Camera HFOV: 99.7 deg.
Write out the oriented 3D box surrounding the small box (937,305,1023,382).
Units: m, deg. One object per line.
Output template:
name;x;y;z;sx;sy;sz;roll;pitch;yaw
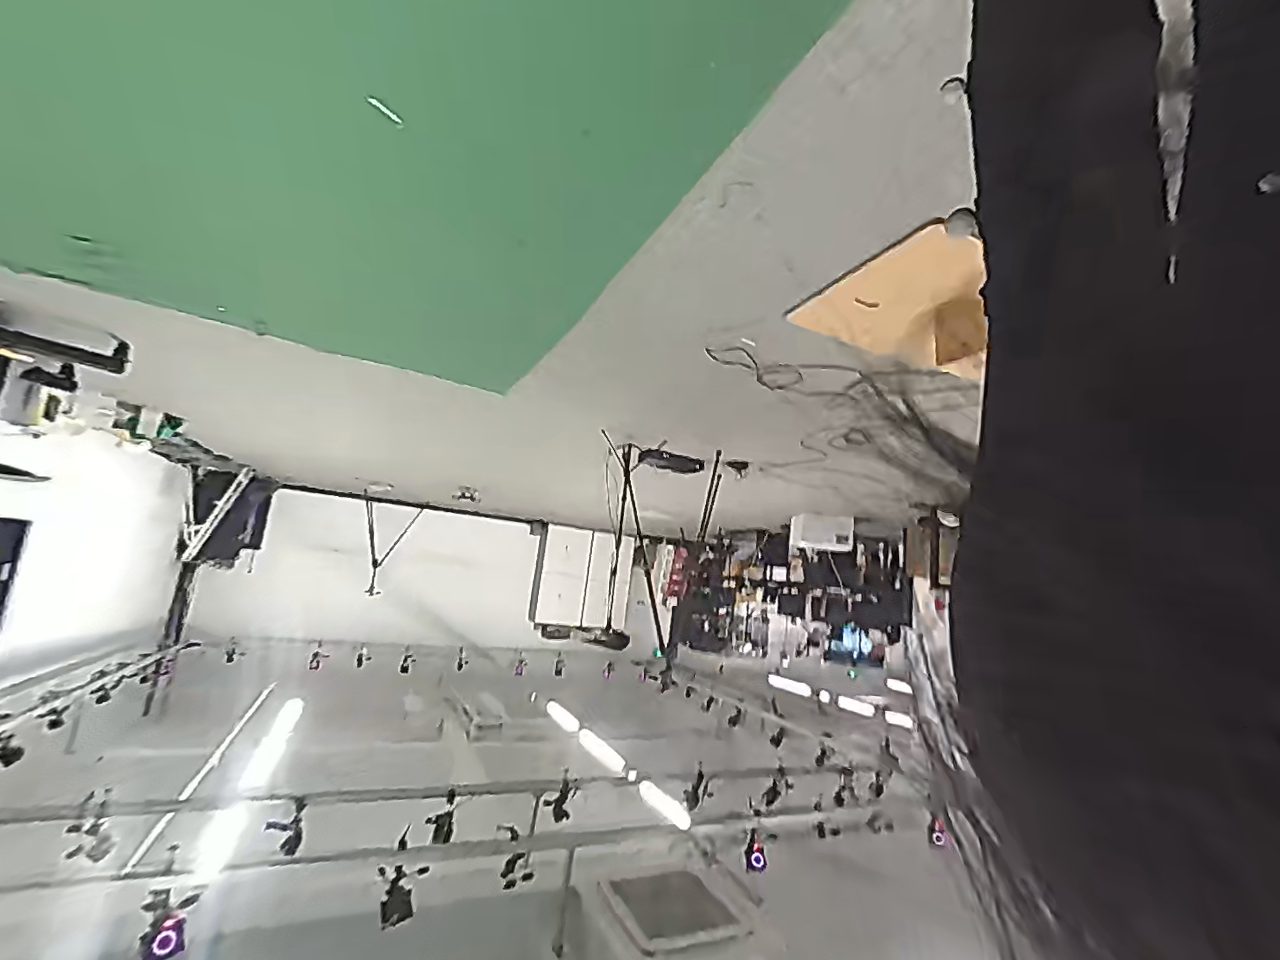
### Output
small box;1.071;-0.431;1.713;0.168;0.176;0.179;10;169;-20
